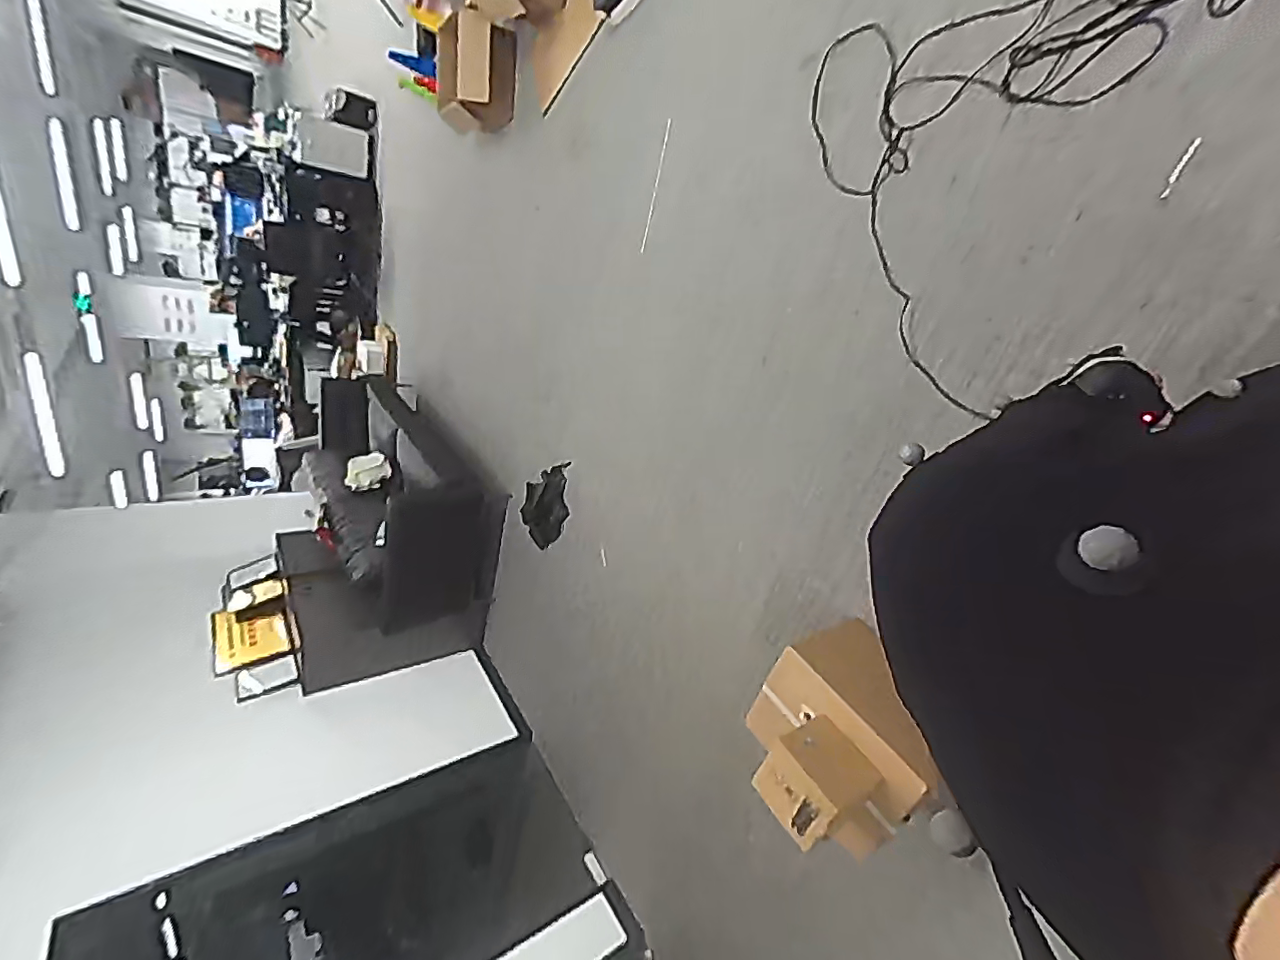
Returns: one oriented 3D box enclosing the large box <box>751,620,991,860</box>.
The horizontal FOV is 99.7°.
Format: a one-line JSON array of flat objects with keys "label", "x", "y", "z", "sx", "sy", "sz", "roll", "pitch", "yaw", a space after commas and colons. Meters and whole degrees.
[{"label": "large box", "x": 0.571, "y": 0.634, "z": 1.385, "sx": 0.408, "sy": 0.320, "sz": 0.320, "roll": 45, "pitch": 127, "yaw": 41}]
